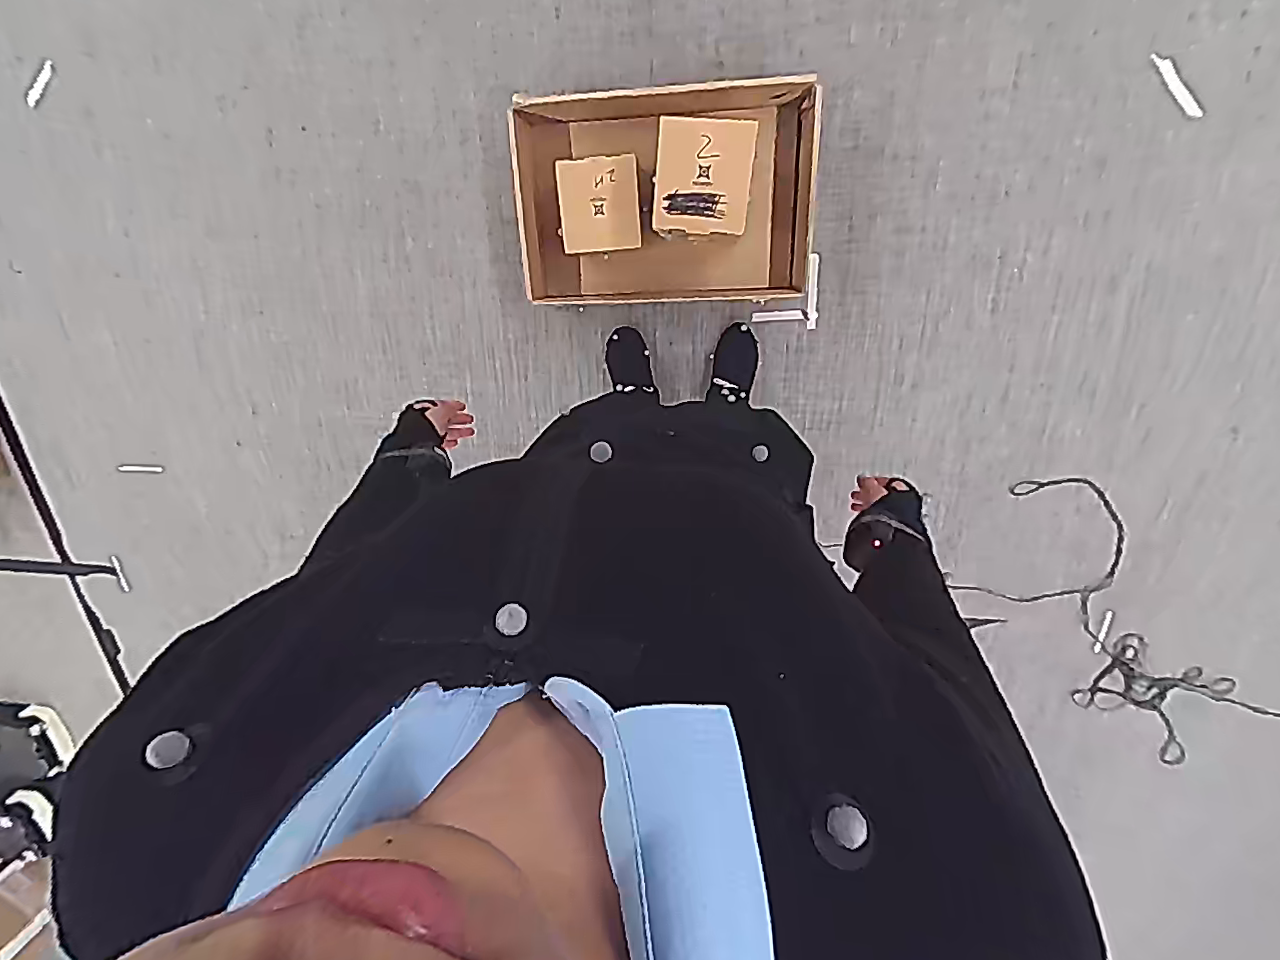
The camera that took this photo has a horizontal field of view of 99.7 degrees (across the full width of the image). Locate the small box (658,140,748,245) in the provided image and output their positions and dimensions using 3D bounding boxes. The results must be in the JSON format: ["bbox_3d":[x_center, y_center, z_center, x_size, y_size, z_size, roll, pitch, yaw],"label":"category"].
[{"bbox_3d":[0.133,-0.605,1.155,0.168,0.176,0.179,6,112,7],"label":"small box"}]

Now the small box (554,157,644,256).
[{"bbox_3d":[-0.081,-0.587,1.180,0.168,0.176,0.179,-2,110,5],"label":"small box"}]
